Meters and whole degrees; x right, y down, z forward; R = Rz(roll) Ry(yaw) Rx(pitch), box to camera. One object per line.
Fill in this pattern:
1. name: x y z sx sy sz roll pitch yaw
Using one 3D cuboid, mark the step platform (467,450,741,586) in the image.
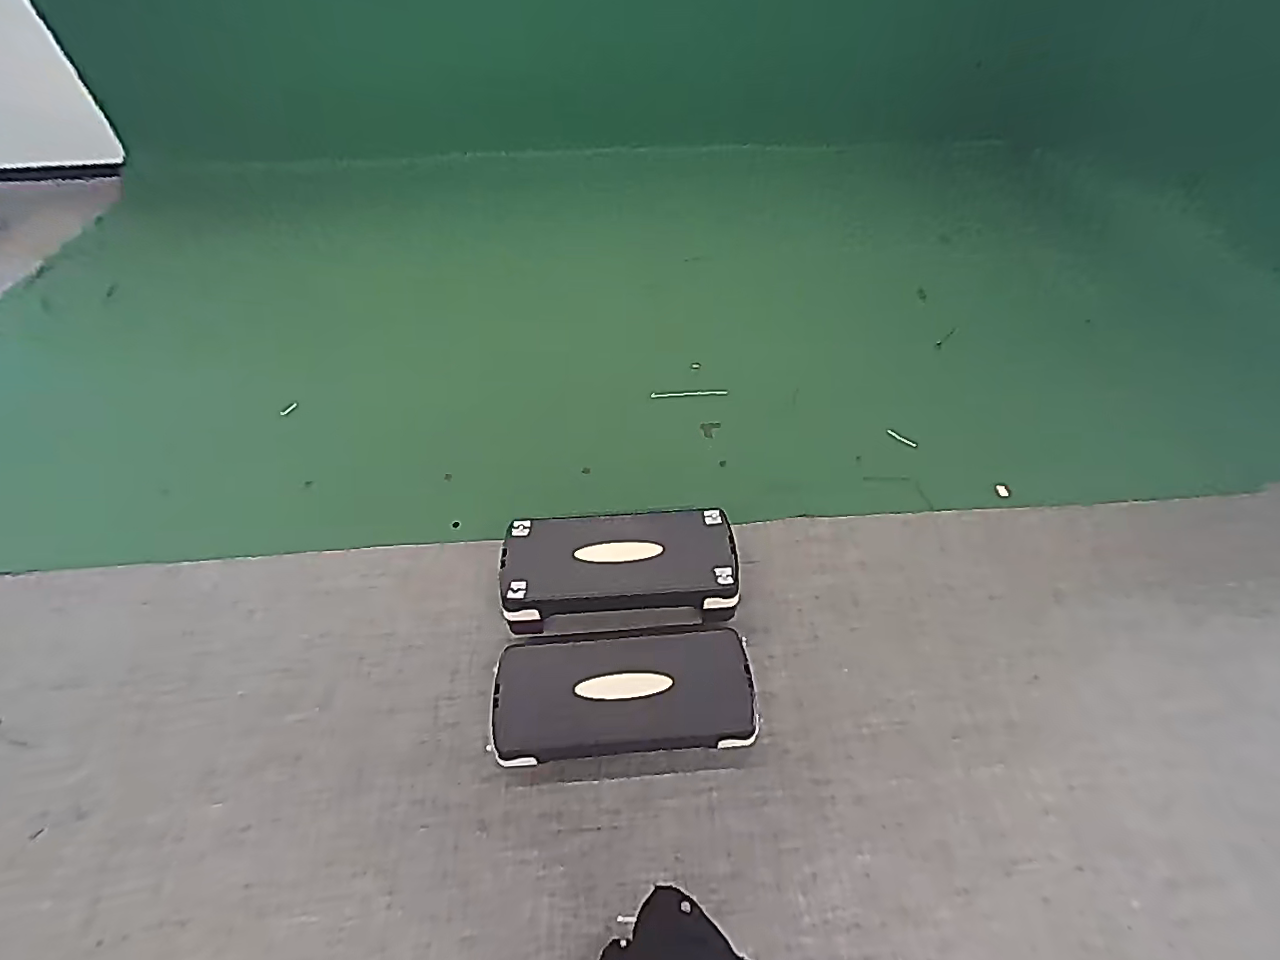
1. step platform: -0.088 0.102 1.439 0.684 0.204 0.286 -4 52 -2
